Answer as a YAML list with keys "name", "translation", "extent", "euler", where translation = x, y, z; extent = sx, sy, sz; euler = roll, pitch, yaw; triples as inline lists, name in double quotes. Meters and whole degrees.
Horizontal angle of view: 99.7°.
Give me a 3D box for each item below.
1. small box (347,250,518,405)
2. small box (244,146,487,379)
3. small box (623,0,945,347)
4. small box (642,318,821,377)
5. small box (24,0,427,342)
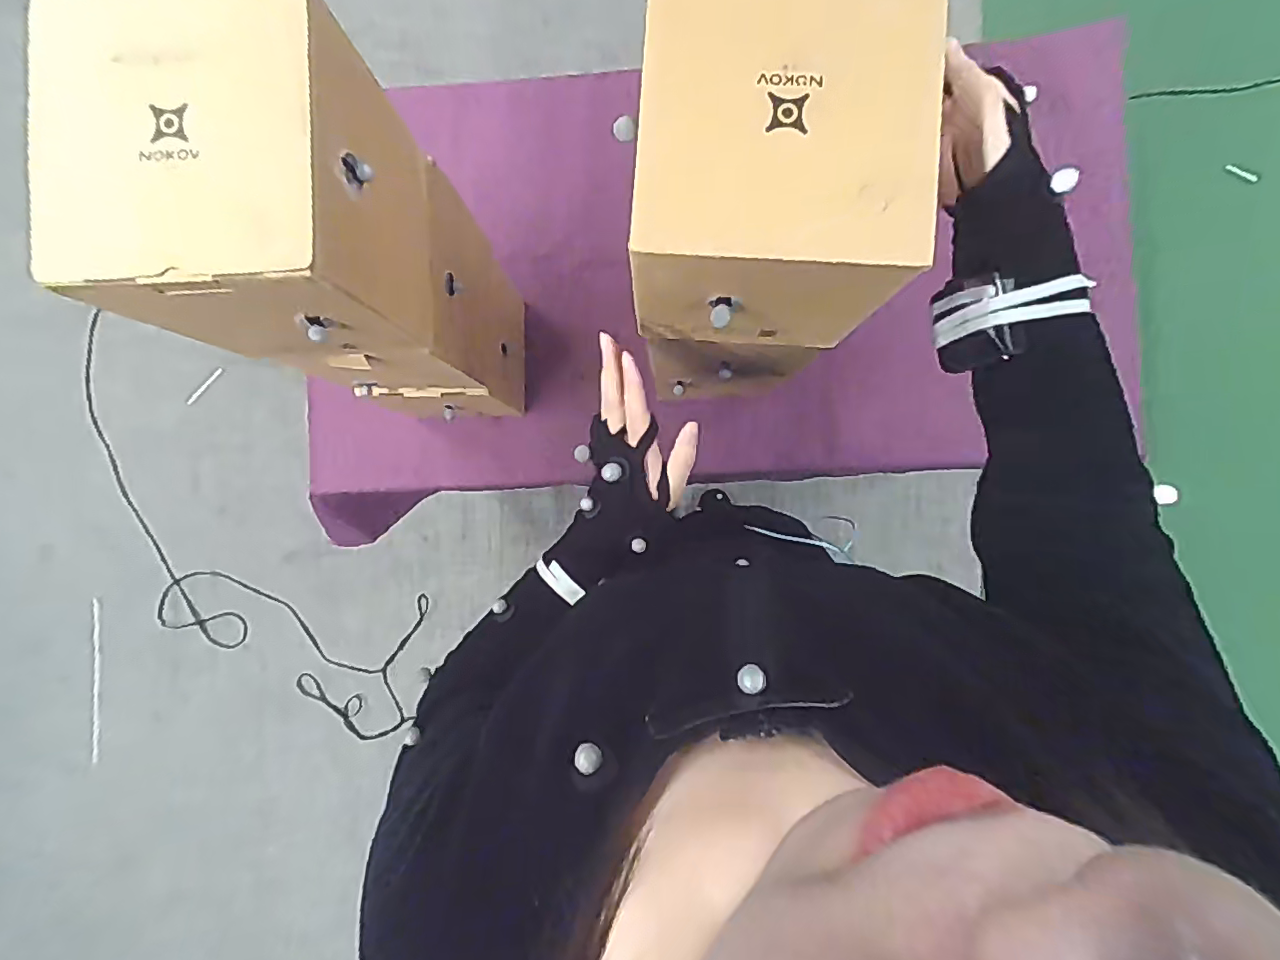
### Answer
- name: "small box"
  translation: [-0.261, -0.195, 0.715]
  extent: [0.168, 0.176, 0.179]
  euler: [1, 90, 0]
- name: "small box"
  translation: [-0.261, -0.204, 0.550]
  extent: [0.168, 0.176, 0.179]
  euler: [2, 88, 1]
- name: "small box"
  translation: [0.082, -0.201, 0.378]
  extent: [0.168, 0.176, 0.179]
  euler: [5, 88, 2]
- name: "small box"
  translation: [0.089, -0.210, 0.541]
  extent: [0.168, 0.176, 0.179]
  euler: [3, 90, 2]
- name: "small box"
  translation: [-0.265, -0.202, 0.387]
  extent: [0.168, 0.176, 0.179]
  euler: [-1, 89, 0]
